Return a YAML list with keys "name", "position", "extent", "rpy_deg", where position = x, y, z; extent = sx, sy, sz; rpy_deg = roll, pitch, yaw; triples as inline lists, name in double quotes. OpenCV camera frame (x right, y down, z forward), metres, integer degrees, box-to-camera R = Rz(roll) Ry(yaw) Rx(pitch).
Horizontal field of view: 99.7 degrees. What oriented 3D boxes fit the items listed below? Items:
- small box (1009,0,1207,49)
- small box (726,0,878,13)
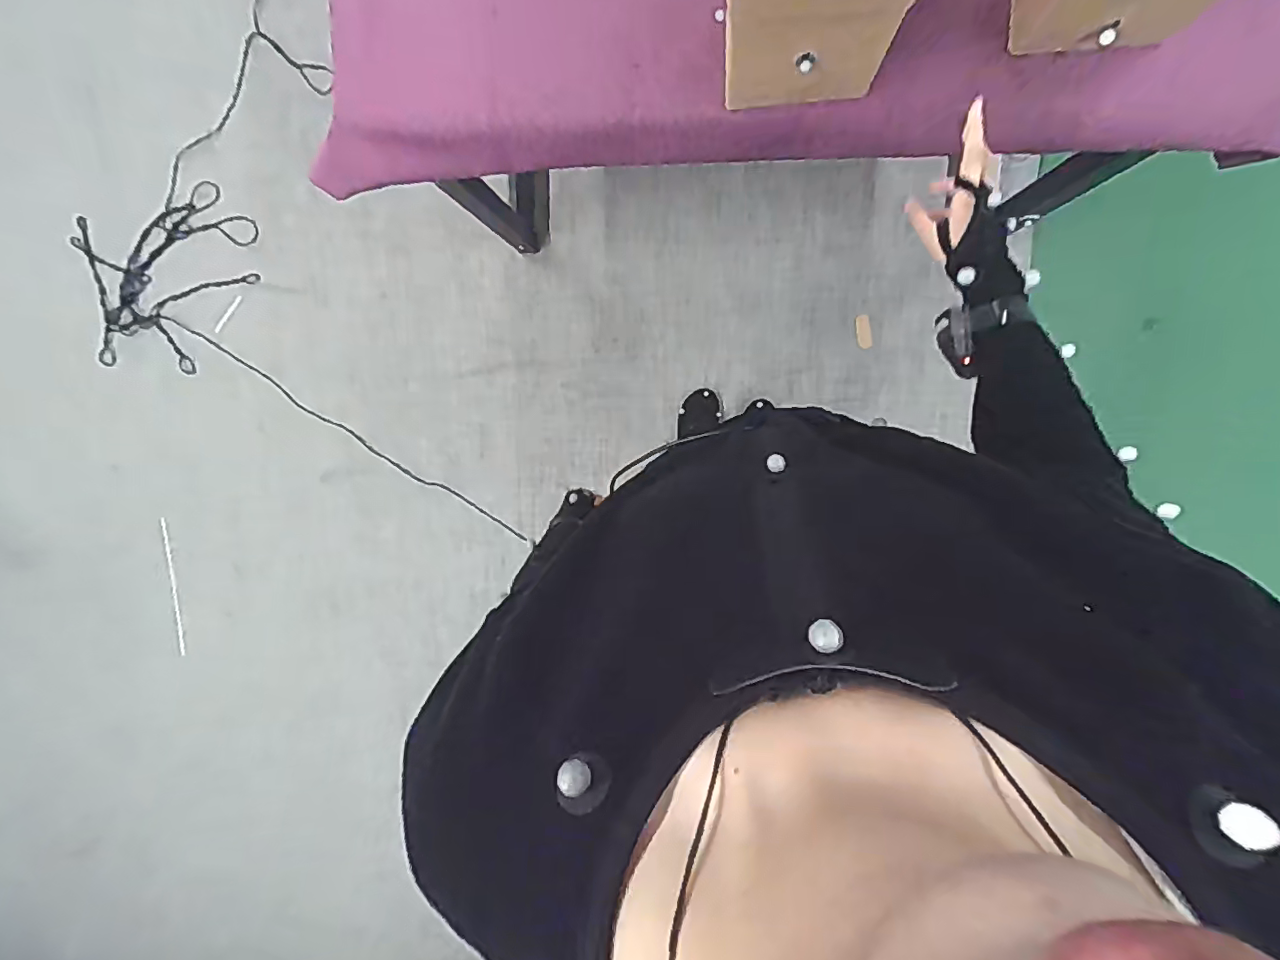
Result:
- name: "small box"
  position: [0.521, -0.586, 0.552]
  extent: [0.179, 0.176, 0.168]
  rpy_deg: [1, 96, 9]
- name: "small box"
  position: [0.161, -0.531, 0.439]
  extent: [0.179, 0.176, 0.168]
  rpy_deg: [2, 96, 8]
